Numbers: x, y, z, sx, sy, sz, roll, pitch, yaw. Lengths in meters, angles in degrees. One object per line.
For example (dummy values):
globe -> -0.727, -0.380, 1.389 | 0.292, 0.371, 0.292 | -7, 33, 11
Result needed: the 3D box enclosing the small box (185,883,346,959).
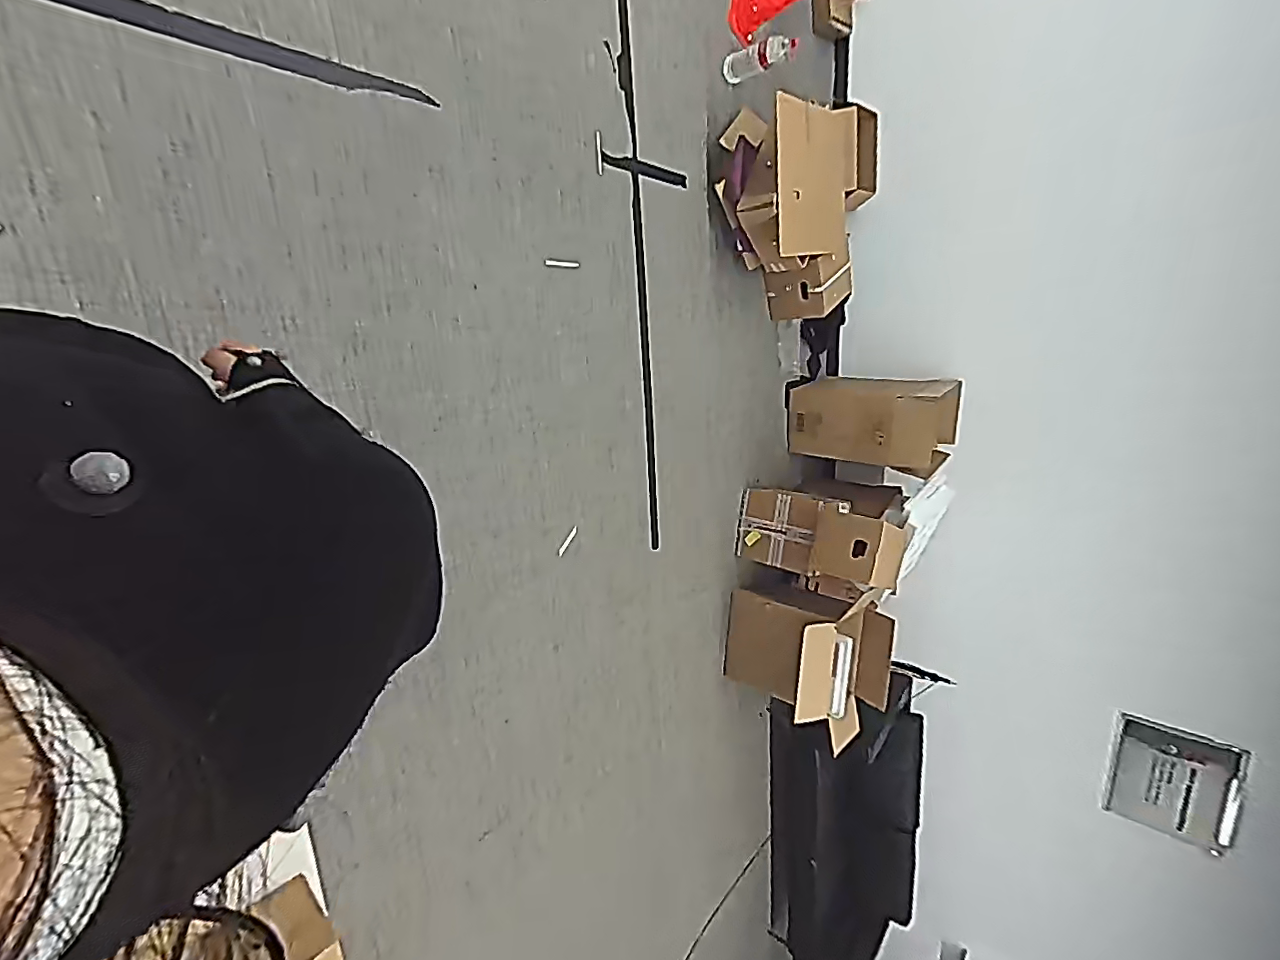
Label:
small box -> -0.556, 0.761, 0.816 | 0.168, 0.176, 0.179 | -16, 108, -46
